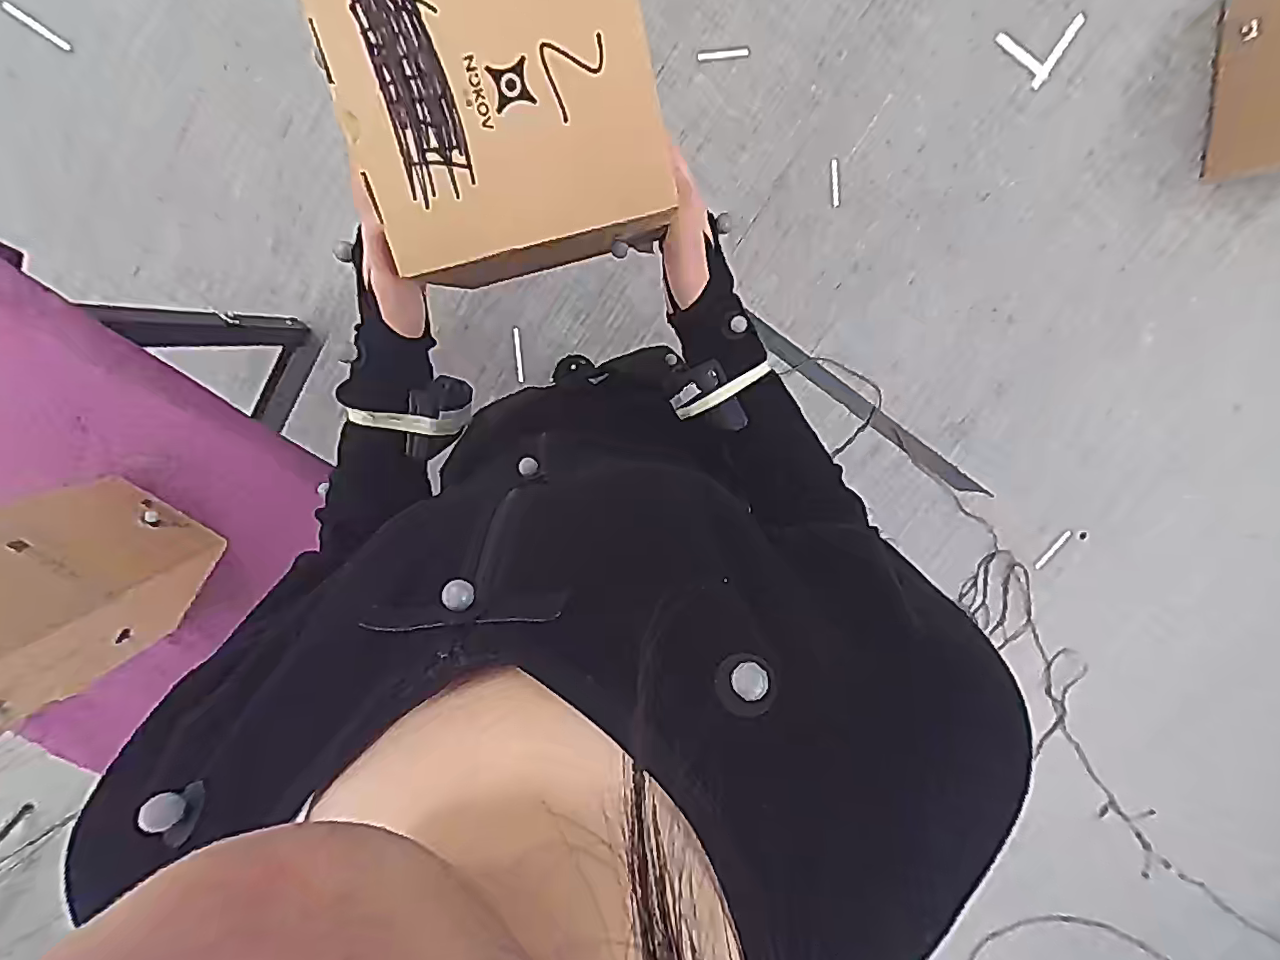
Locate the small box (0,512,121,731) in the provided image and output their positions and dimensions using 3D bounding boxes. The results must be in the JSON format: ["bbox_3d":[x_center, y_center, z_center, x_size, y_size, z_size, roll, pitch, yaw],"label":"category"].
[{"bbox_3d":[-0.682,0.161,0.528,0.168,0.176,0.179,38,101,-11],"label":"small box"}]

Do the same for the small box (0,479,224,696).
[{"bbox_3d":[-0.689,0.125,0.688,0.168,0.176,0.179,36,100,-10],"label":"small box"}]
